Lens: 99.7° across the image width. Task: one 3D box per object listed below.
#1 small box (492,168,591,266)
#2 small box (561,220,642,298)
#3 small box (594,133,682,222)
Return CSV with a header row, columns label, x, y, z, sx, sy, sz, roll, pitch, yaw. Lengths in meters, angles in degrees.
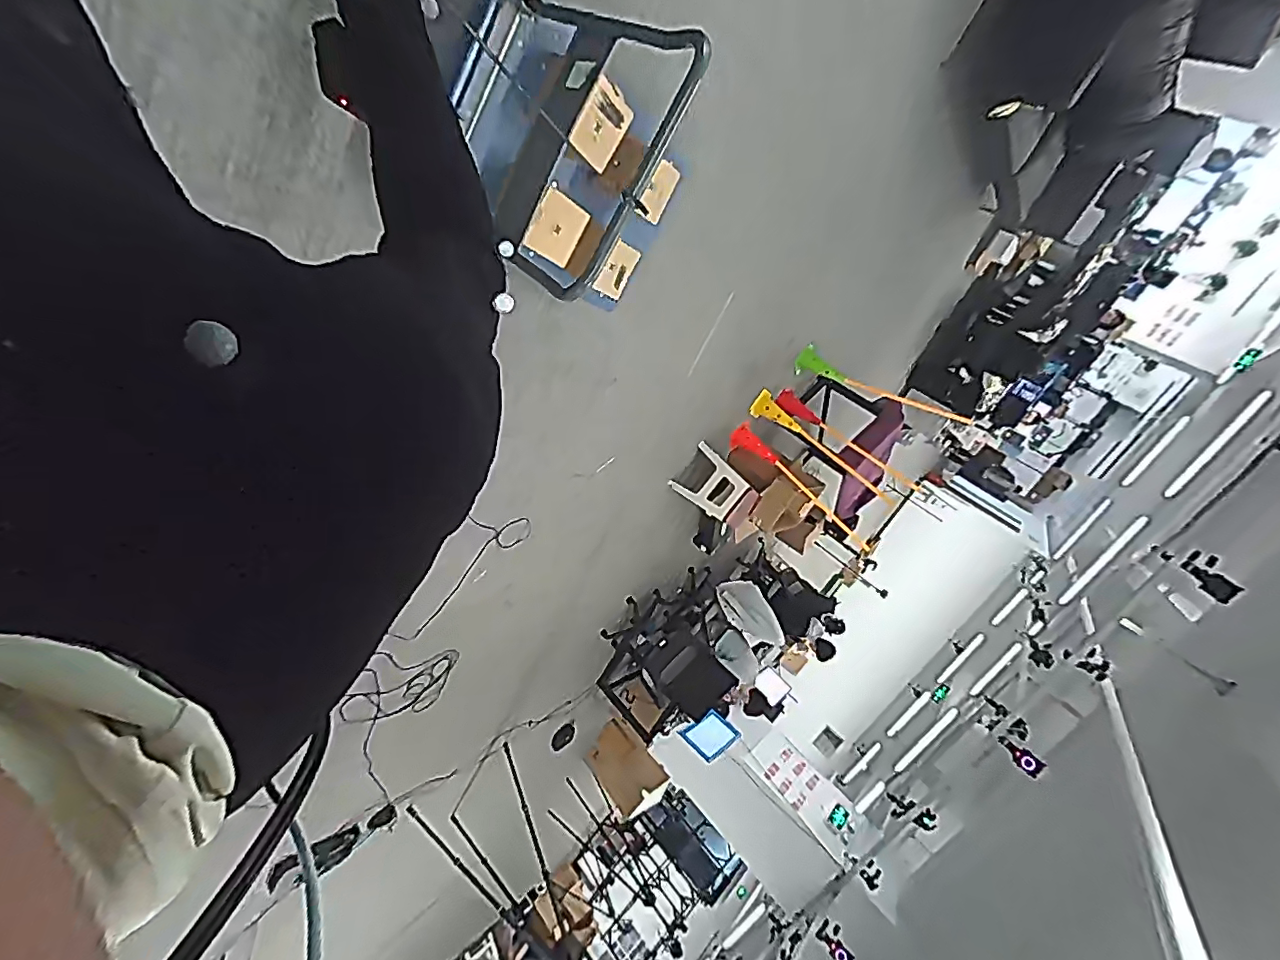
label,x,y,z,sx,sy,sz,roll,pitch,yaw
small box,-0.277,-0.740,1.517,0.179,0.176,0.168,7,119,-56
small box,-0.133,-0.718,1.738,0.179,0.176,0.168,3,122,-54
small box,-0.010,-0.928,1.656,0.179,0.176,0.168,0,126,-54
